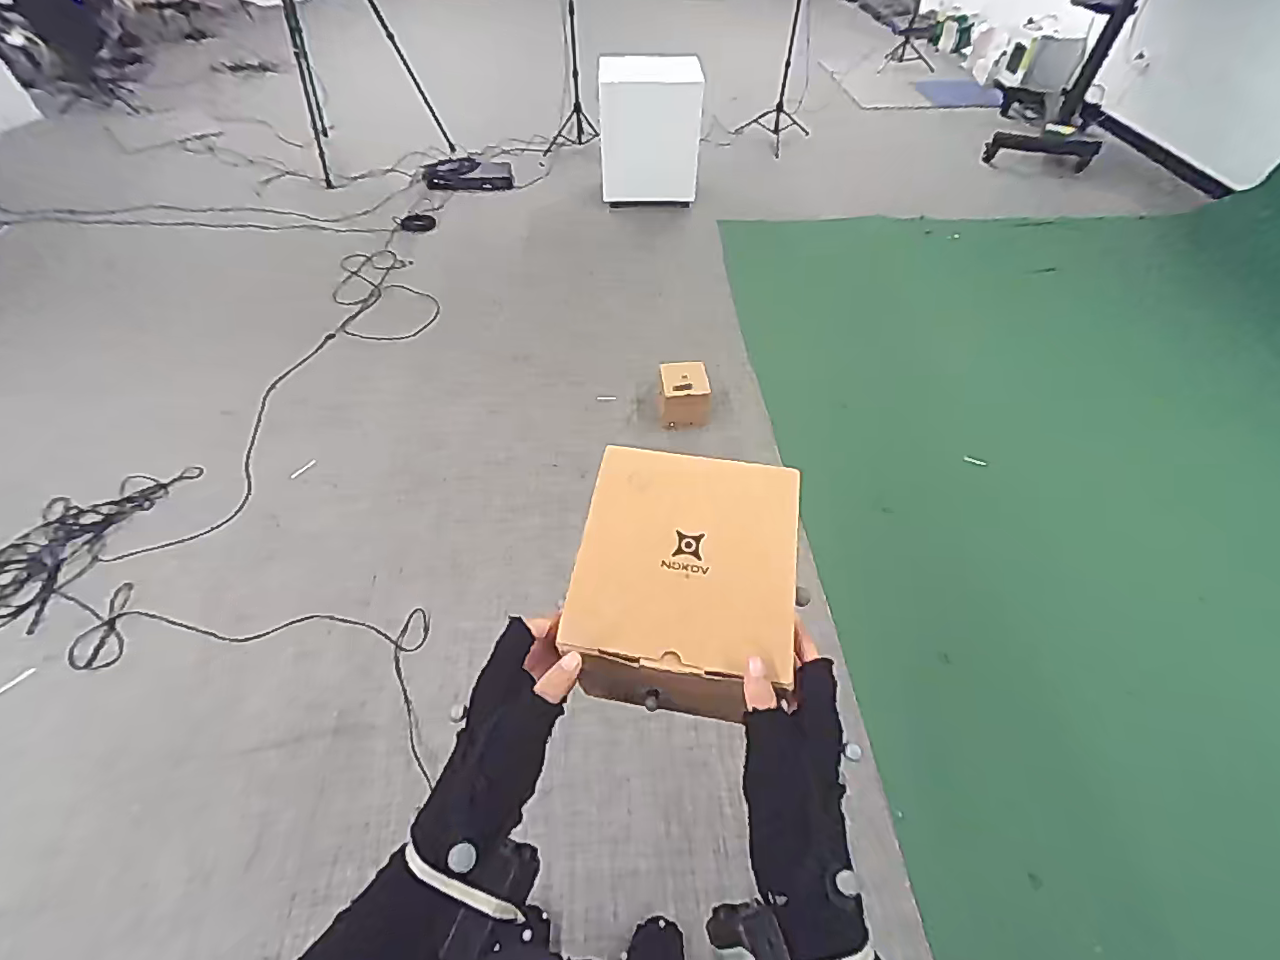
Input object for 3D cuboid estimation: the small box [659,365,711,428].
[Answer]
[{"bbox_3d":[0.163,-0.303,2.005,0.168,0.176,0.179,-4,52,-4],"label":"small box"}]
